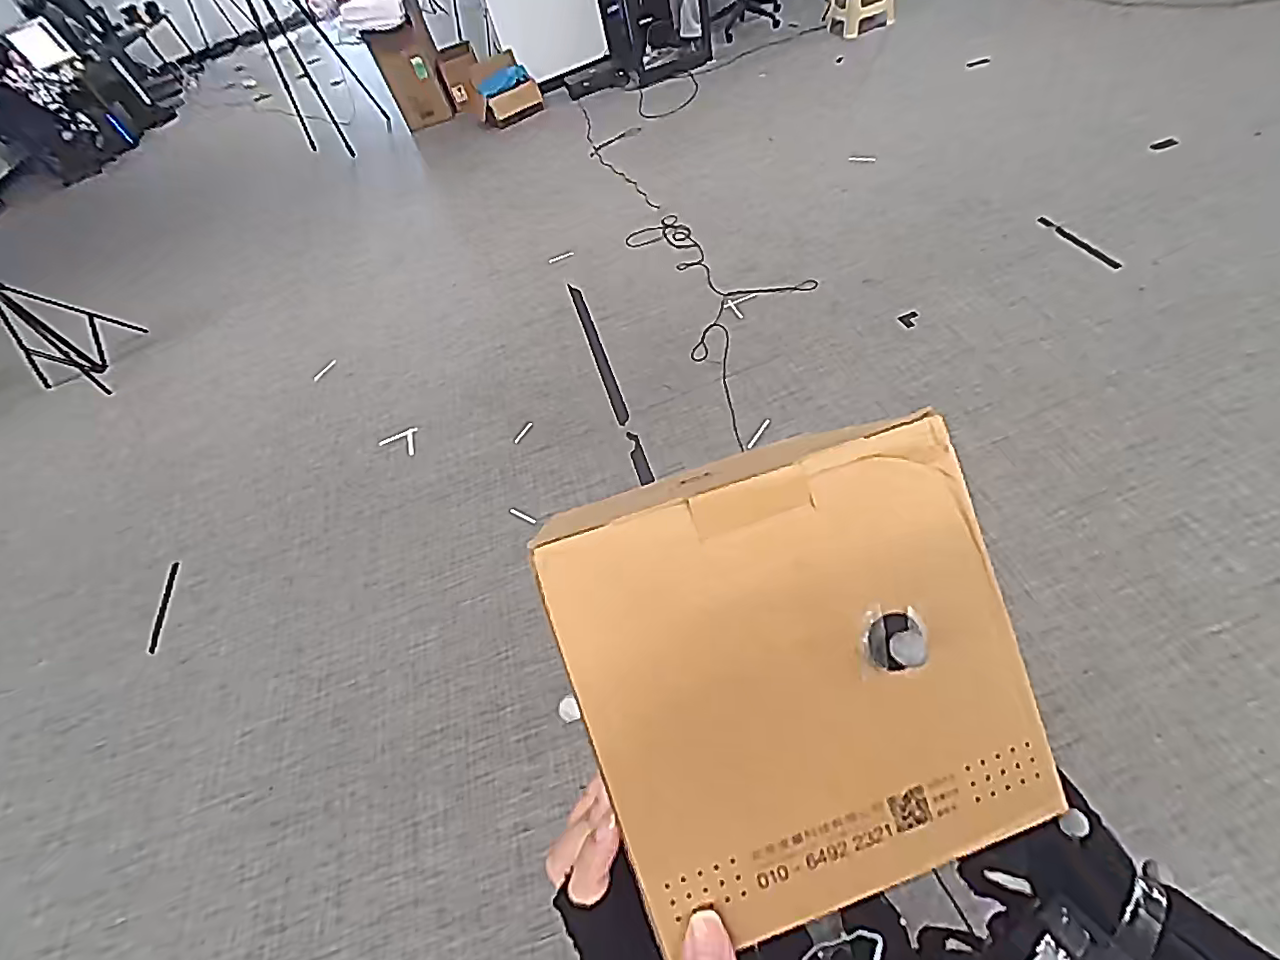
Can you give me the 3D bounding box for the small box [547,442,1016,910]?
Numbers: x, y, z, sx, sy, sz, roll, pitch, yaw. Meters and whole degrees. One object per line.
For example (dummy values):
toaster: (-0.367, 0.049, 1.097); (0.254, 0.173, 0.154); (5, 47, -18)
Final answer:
small box: (0.059, 0.088, 0.302); (0.168, 0.179, 0.176); (-18, 91, -4)
